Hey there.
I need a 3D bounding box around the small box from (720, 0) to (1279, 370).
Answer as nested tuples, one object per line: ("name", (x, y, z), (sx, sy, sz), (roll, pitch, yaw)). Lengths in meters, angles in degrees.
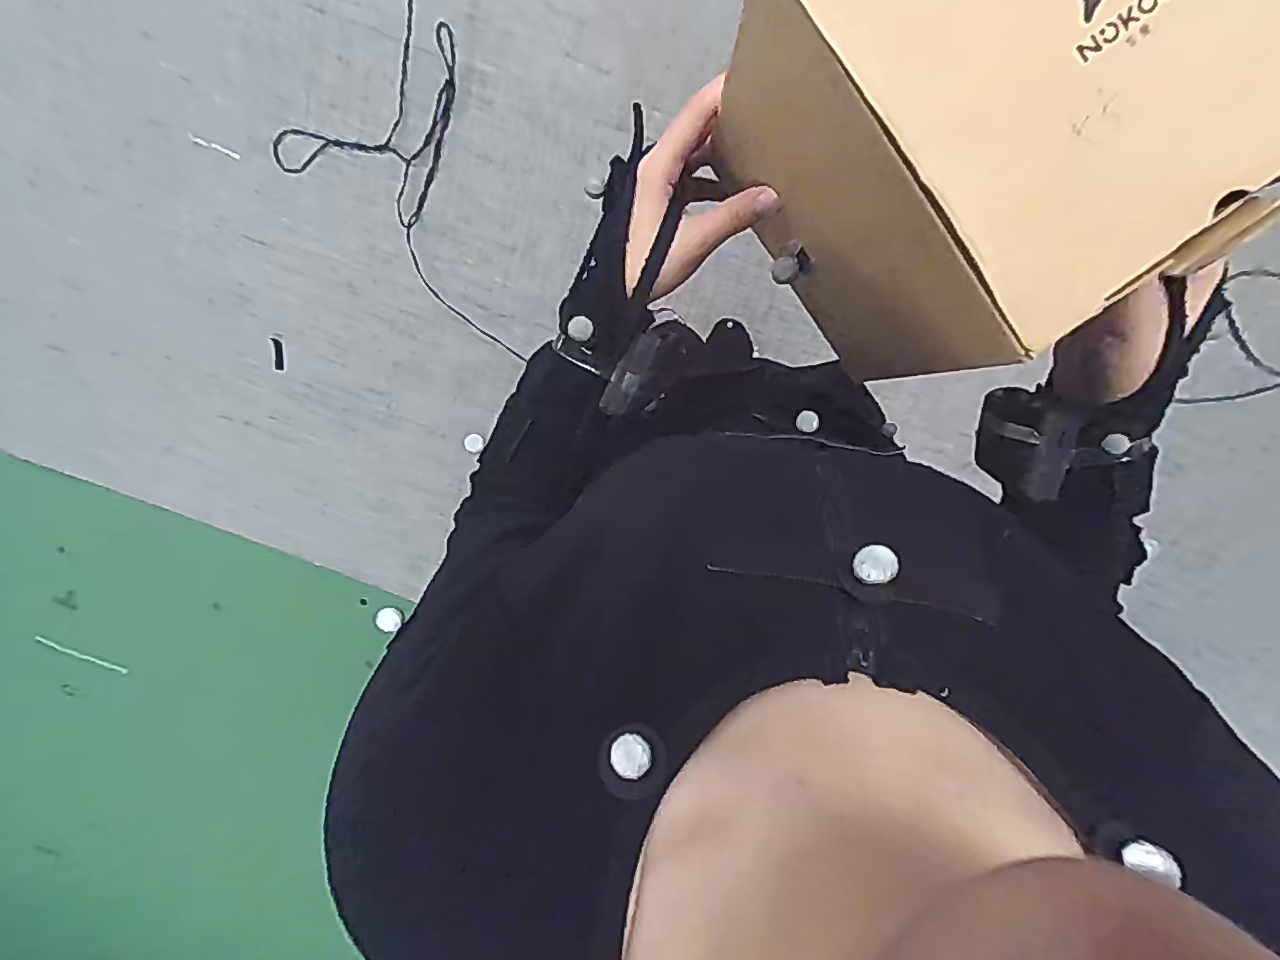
("small box", (0.160, -0.170, 0.268), (0.168, 0.176, 0.179), (-35, 96, 5))
